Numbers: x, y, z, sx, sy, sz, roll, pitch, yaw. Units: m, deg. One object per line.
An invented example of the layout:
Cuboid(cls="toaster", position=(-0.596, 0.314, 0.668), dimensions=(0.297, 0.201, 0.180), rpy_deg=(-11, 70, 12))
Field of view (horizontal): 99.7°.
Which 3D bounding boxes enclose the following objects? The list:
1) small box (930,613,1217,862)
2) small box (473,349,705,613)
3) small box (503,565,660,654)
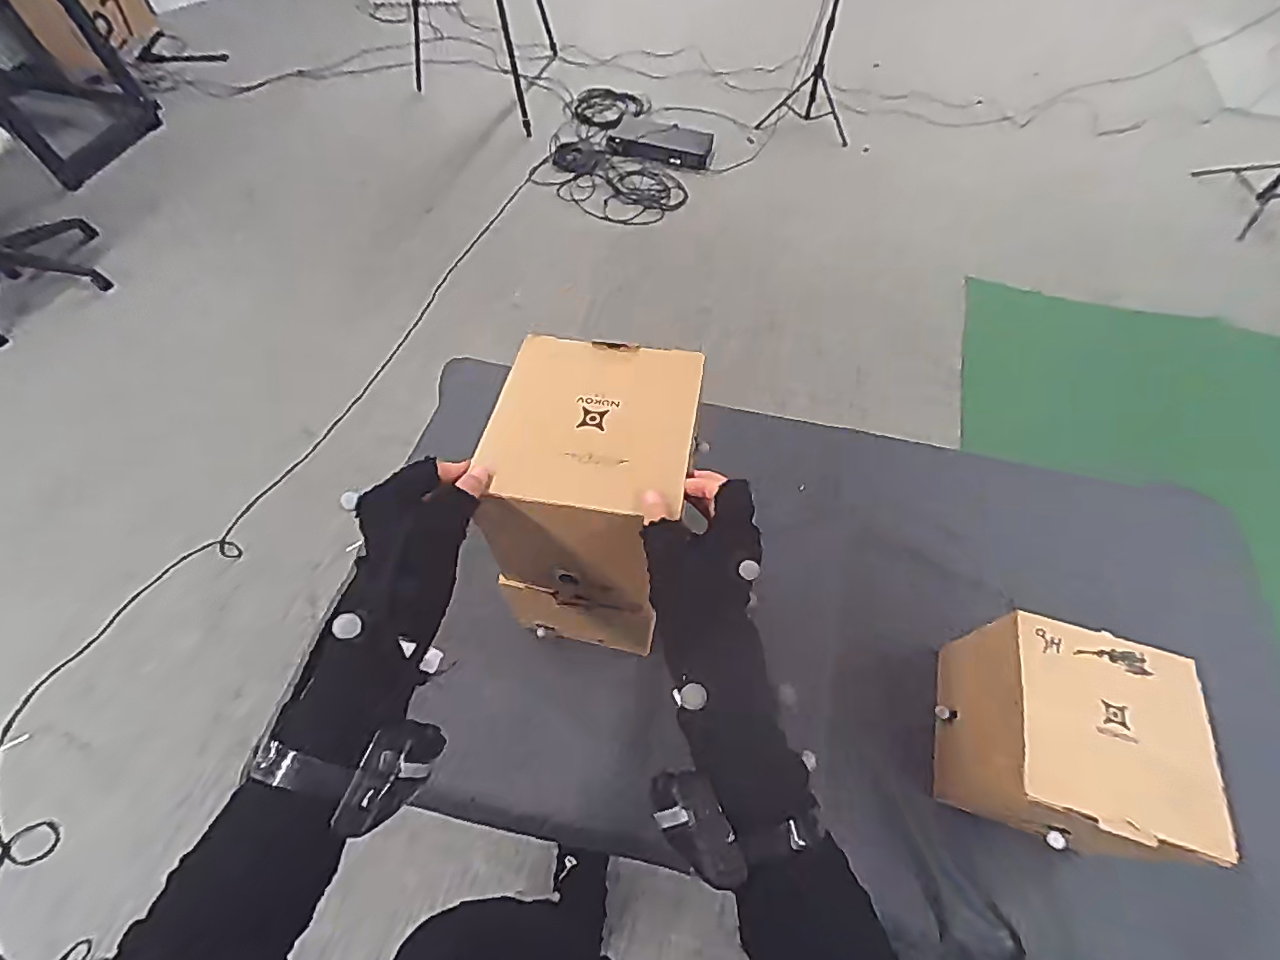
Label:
Cuboid(cls="small box", position=(0.431, 0.270, 0.574), dimensions=(0.168, 0.176, 0.179), rpy_deg=(16, 60, 8))
Cuboid(cls="small box", position=(-0.035, 0.004, 0.514), dimensions=(0.168, 0.176, 0.179), rpy_deg=(7, 55, 5))
Cuboid(cls="small box", position=(-0.048, 0.097, 0.665), dimensions=(0.168, 0.176, 0.179), rpy_deg=(11, 58, 5))
